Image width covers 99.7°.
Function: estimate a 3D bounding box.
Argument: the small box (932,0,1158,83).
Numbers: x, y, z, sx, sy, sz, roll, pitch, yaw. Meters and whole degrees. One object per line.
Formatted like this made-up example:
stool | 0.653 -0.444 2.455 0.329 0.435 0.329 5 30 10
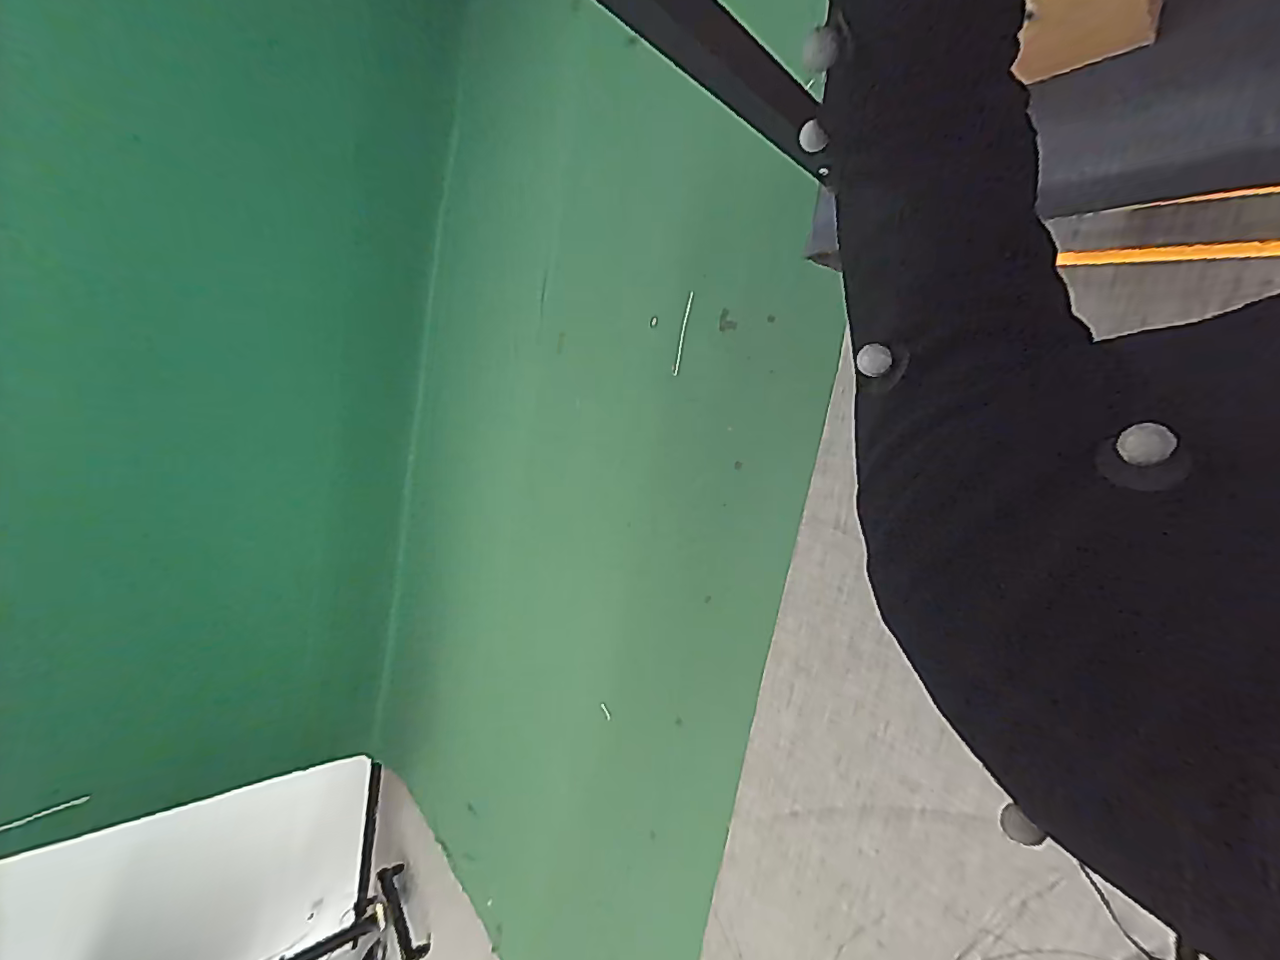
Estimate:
small box | 0.451 -0.583 0.590 0.179 0.176 0.168 12 98 46
